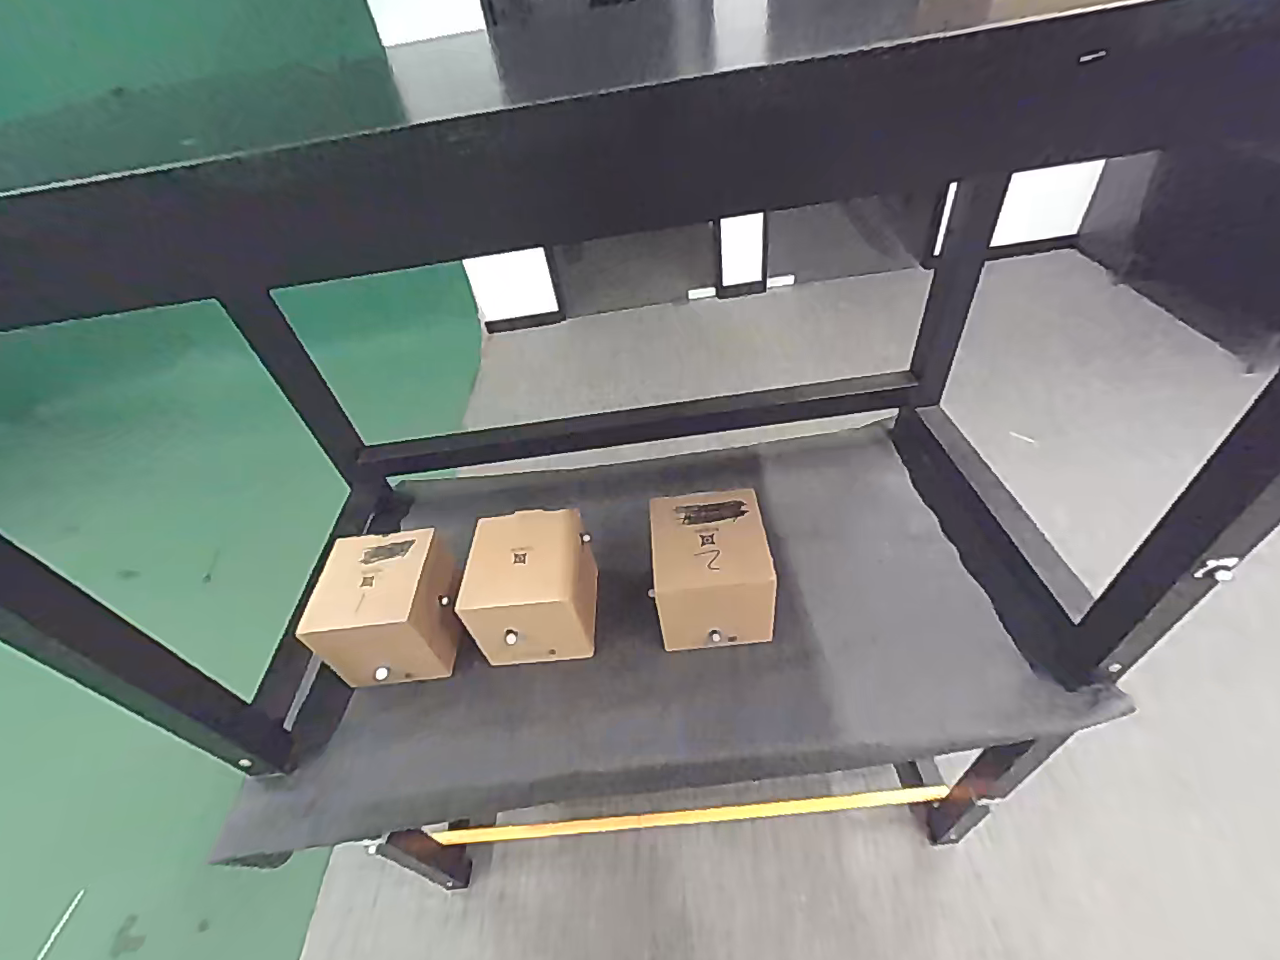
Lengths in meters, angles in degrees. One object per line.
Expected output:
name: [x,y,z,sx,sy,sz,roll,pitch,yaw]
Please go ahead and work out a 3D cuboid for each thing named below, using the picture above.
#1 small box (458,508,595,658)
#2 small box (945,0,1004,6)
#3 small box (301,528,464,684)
small box: [-0.168,0.171,0.868,0.168,0.176,0.179,-6,43,4]
small box: [0.264,-0.374,0.285,0.168,0.176,0.179,1,44,11]
small box: [-0.393,0.203,0.873,0.168,0.176,0.179,-7,44,3]
